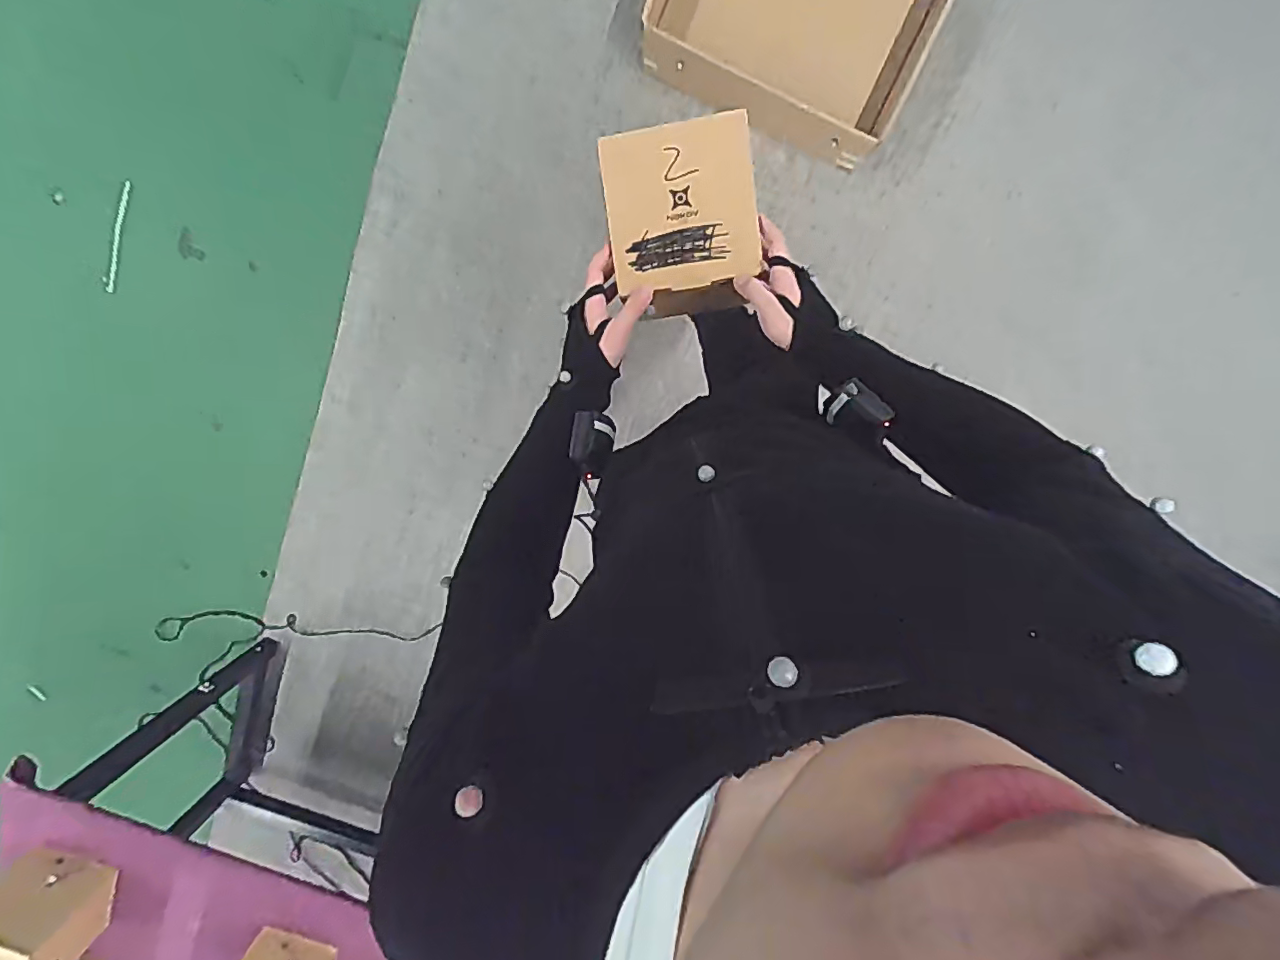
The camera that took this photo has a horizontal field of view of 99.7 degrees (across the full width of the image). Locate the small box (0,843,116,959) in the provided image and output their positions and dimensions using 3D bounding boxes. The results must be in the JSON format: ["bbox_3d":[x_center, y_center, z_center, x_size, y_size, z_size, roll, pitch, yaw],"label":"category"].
[{"bbox_3d":[-1.177,0.861,1.046,0.168,0.176,0.179,22,104,-4],"label":"small box"}]

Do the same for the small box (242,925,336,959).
[{"bbox_3d":[-0.741,1.053,1.076,0.168,0.176,0.179,21,103,-2],"label":"small box"}]
